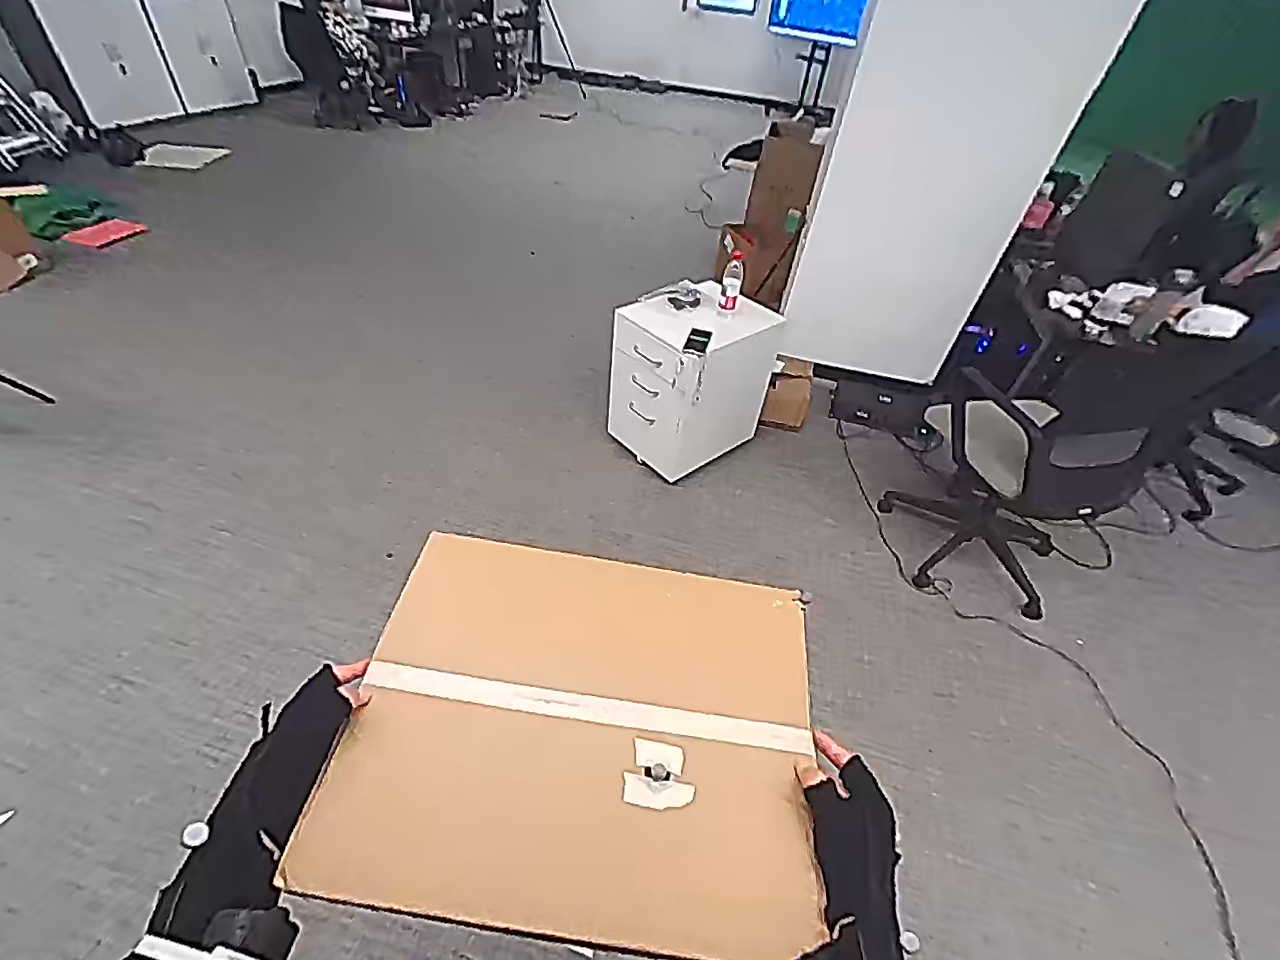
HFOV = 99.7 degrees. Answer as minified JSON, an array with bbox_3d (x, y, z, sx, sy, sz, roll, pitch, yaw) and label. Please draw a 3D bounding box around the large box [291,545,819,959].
[{"bbox_3d":[-0.064,0.309,0.605,0.408,0.320,0.320,10,50,0],"label":"large box"}]
